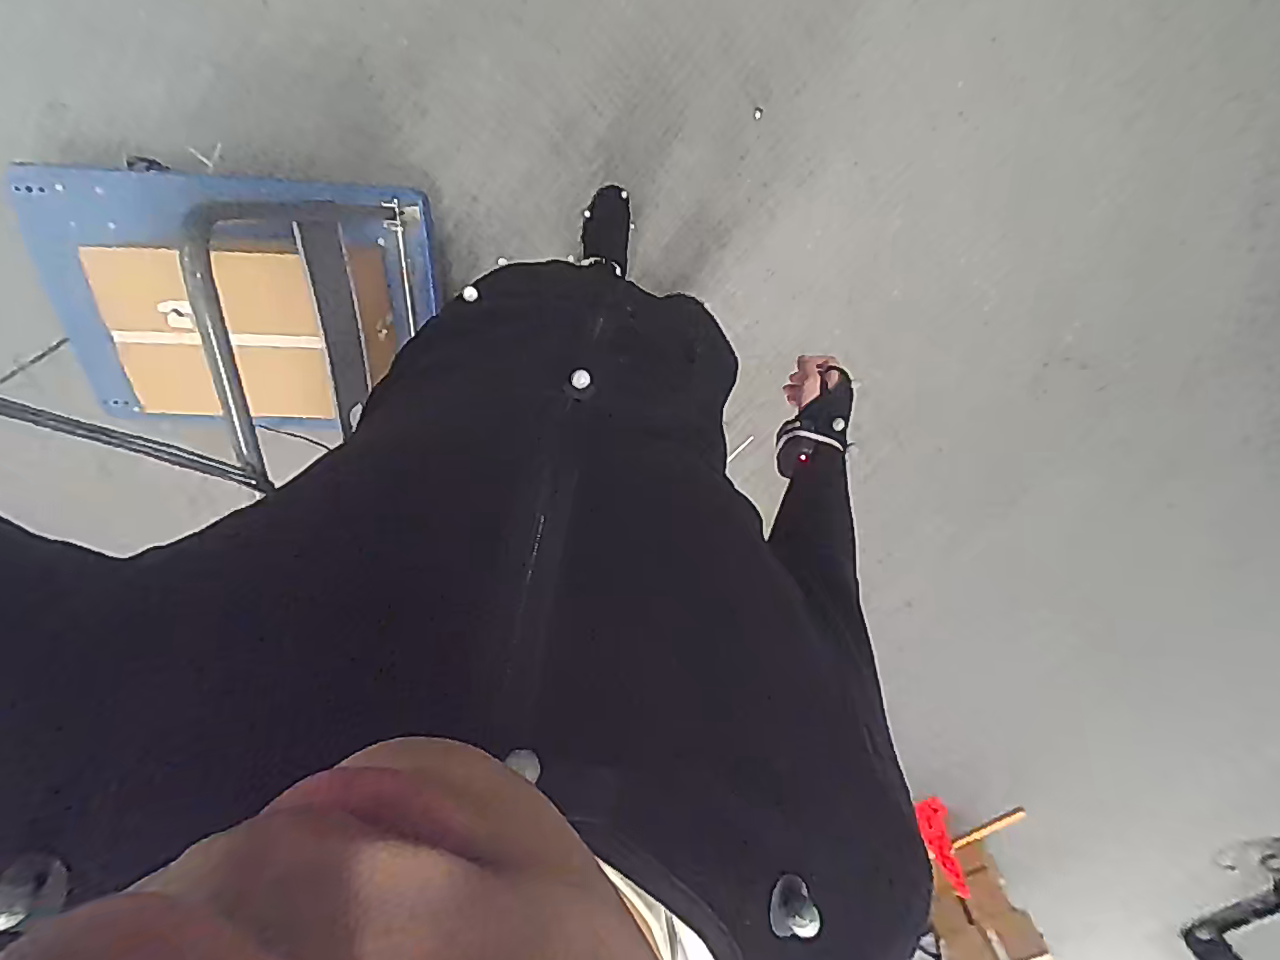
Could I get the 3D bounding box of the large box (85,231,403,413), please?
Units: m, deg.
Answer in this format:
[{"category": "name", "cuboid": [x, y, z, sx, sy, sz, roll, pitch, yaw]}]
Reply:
[{"category": "large box", "cuboid": [-0.782, -0.347, 1.151, 0.408, 0.320, 0.320, 2, 117, -2]}]
